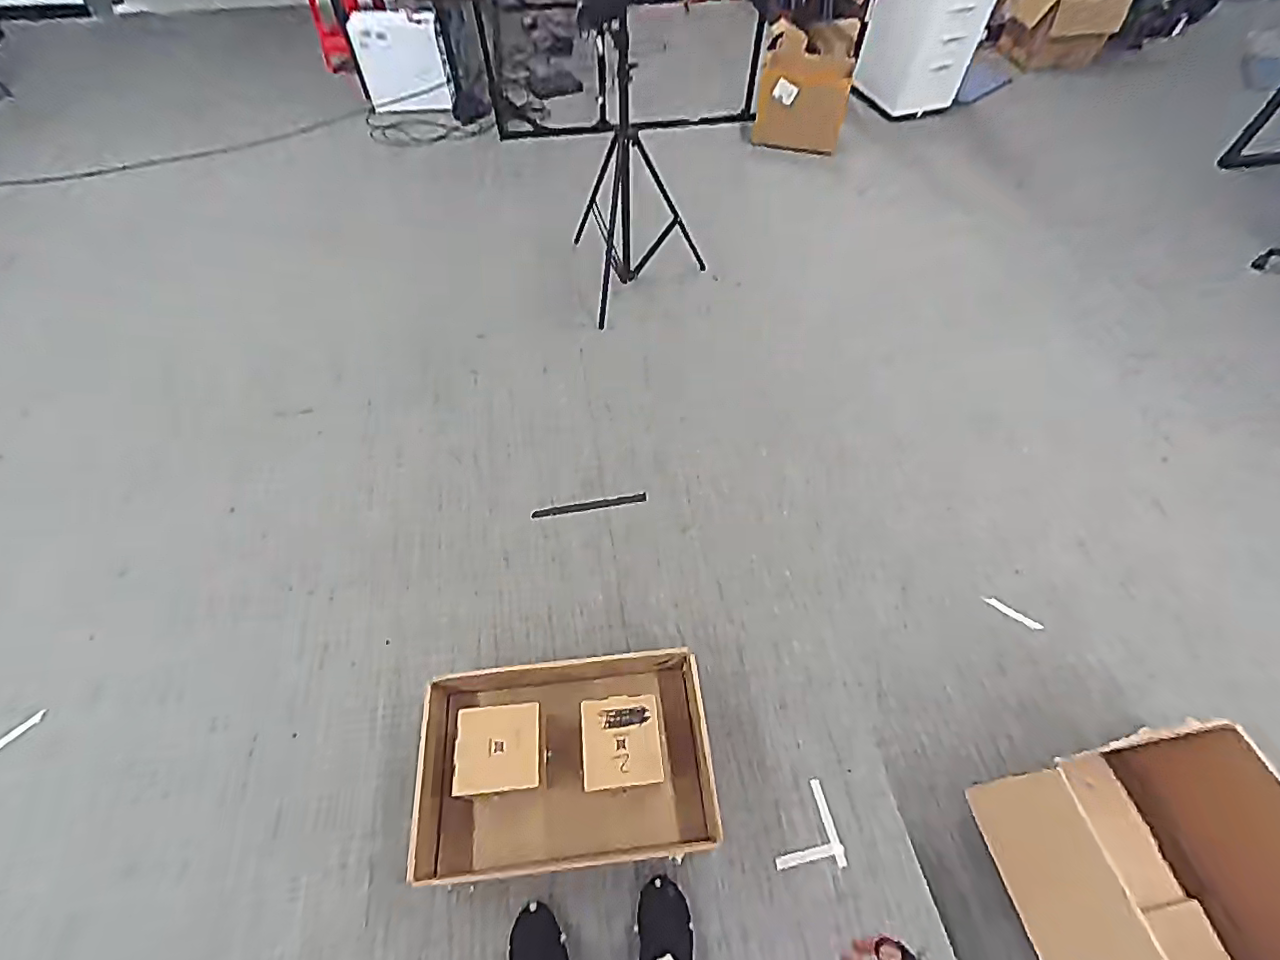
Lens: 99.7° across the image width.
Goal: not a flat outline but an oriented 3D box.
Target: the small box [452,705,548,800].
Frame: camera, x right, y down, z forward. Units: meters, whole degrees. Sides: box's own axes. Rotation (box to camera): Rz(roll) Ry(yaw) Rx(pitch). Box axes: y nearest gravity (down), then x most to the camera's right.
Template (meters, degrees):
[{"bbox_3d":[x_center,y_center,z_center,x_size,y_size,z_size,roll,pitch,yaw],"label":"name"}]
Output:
[{"bbox_3d":[-0.304,0.612,1.209,0.179,0.176,0.168,-4,59,-5],"label":"small box"}]
